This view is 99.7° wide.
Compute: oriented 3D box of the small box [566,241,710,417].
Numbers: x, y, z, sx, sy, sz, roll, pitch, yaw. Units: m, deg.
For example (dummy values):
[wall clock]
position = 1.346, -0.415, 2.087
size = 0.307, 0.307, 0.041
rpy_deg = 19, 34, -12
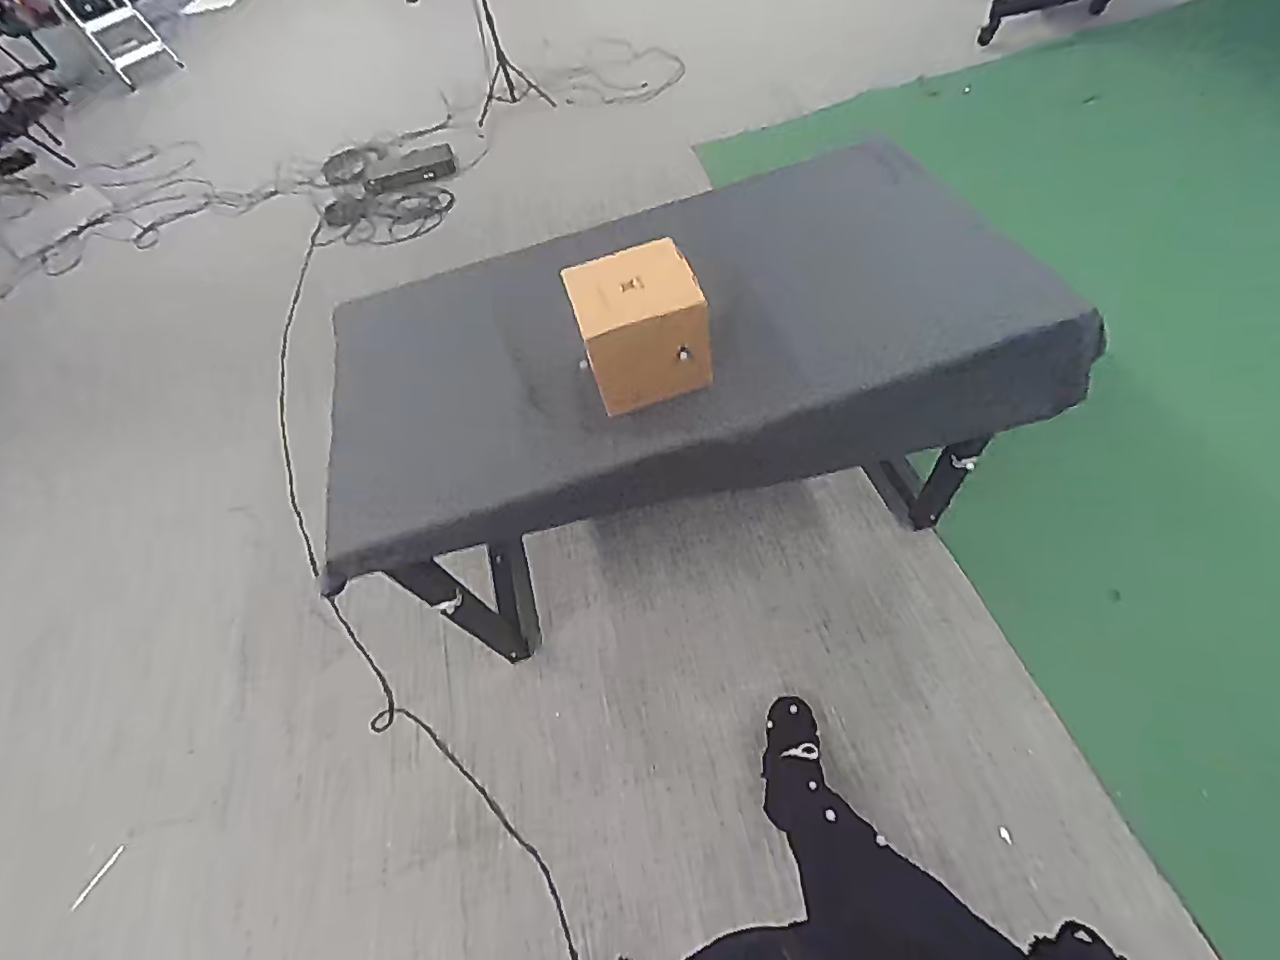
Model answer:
[small box]
position = 0.002, -0.228, 0.837
size = 0.179, 0.176, 0.168
rpy_deg = -19, 55, -1
